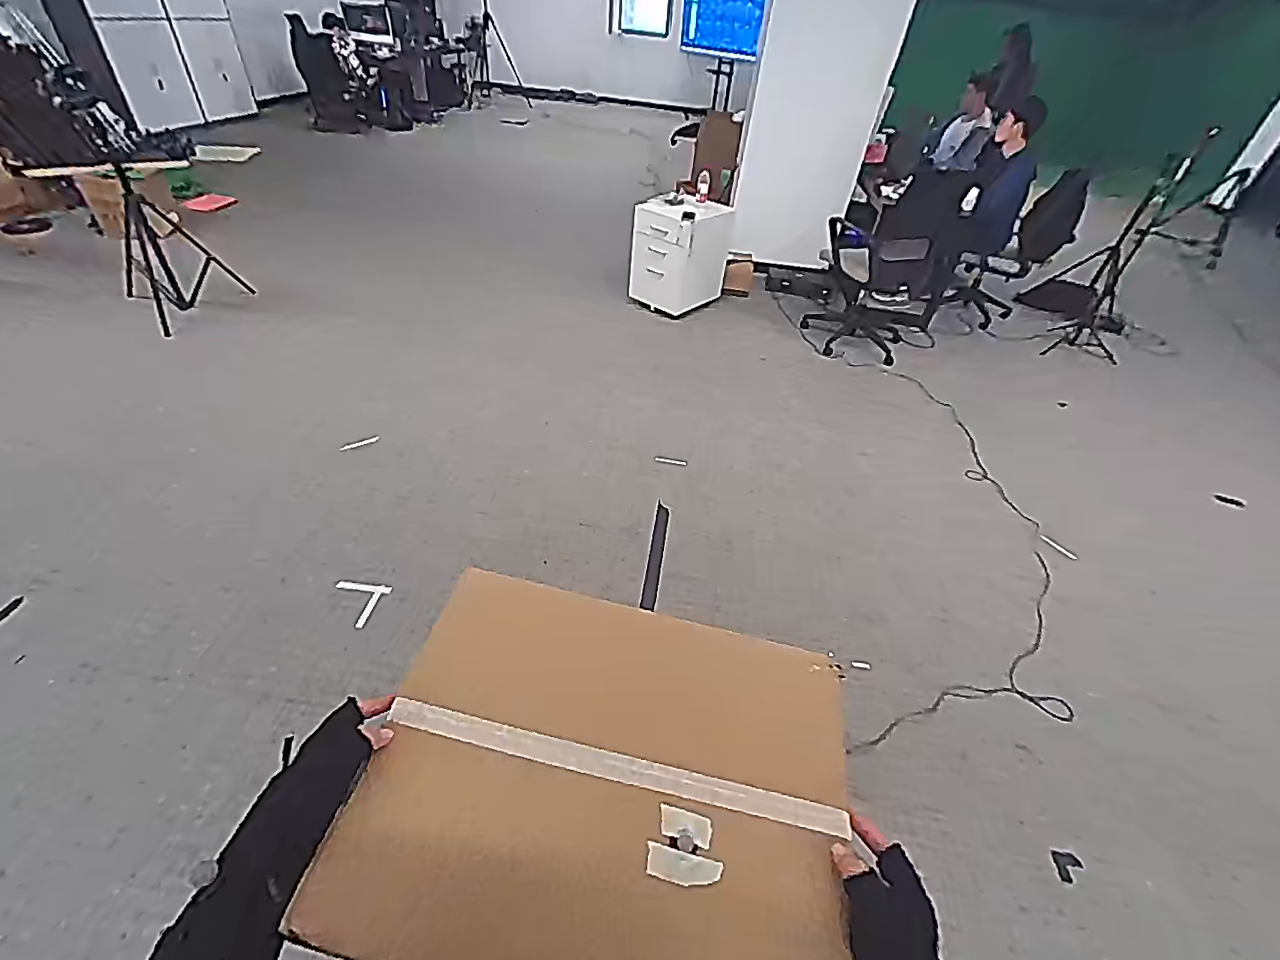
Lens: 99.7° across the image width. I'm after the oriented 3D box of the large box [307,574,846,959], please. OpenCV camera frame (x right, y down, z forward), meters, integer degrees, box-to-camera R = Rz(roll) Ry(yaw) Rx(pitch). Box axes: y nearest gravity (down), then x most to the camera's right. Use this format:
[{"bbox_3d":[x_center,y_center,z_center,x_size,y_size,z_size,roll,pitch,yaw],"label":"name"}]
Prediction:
[{"bbox_3d":[-0.040,0.352,0.586,0.408,0.320,0.320,14,47,3],"label":"large box"}]
